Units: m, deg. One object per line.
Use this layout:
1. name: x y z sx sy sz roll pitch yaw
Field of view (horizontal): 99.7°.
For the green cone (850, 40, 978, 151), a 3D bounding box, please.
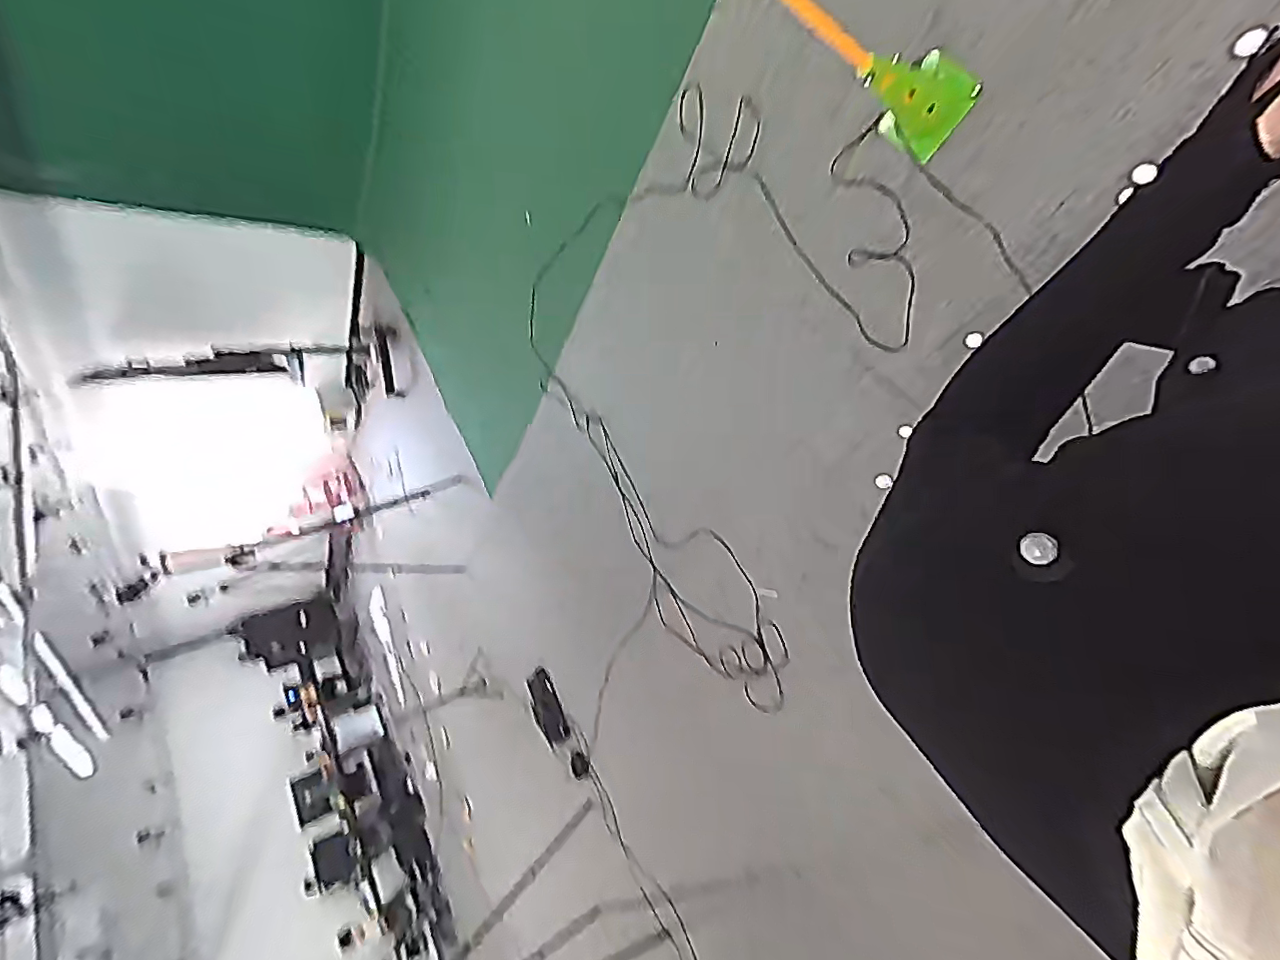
1. green cone: 0.630 -0.995 1.334 0.200 0.368 0.202 59 137 22
